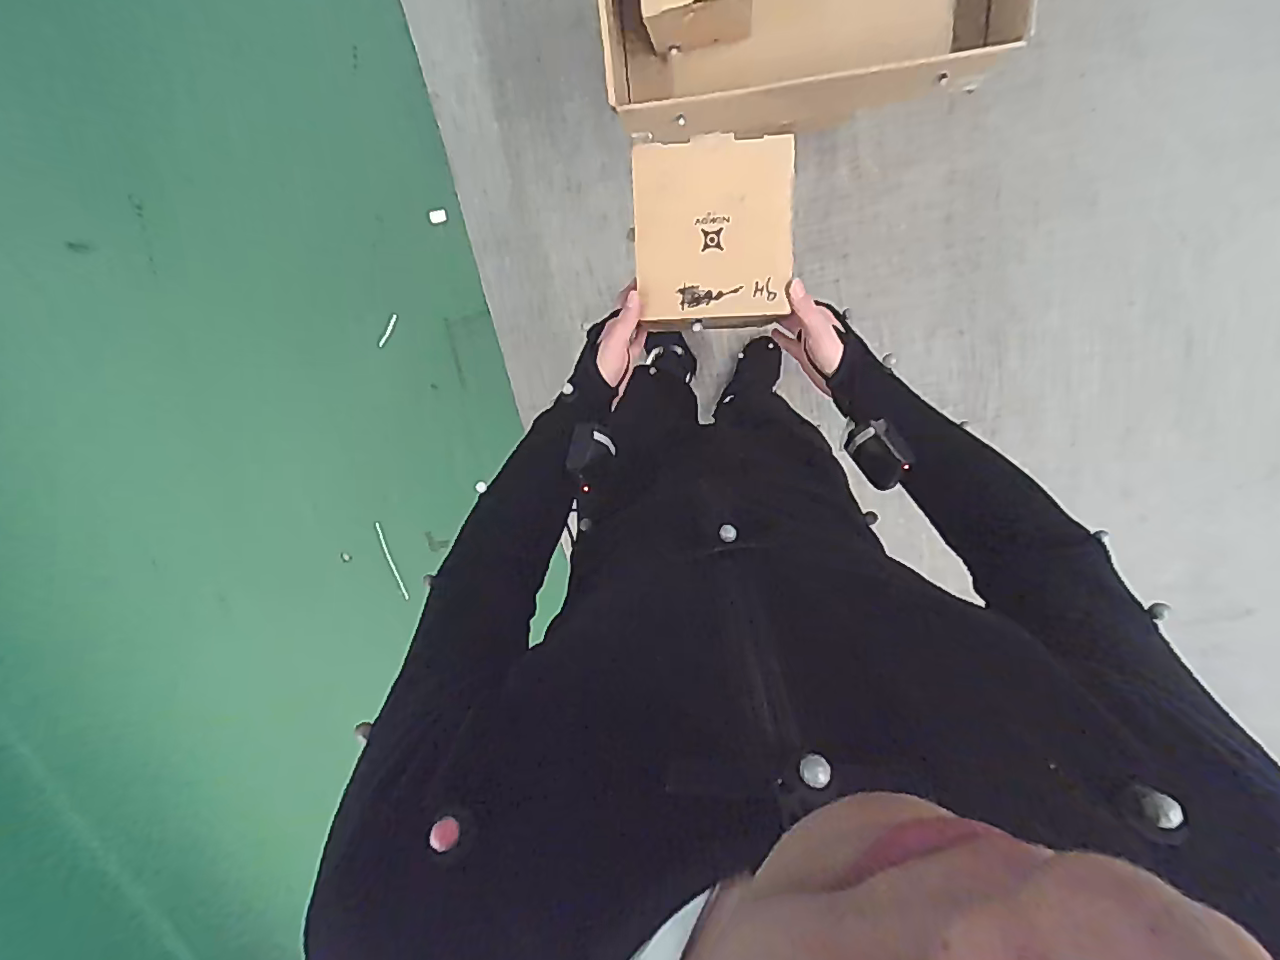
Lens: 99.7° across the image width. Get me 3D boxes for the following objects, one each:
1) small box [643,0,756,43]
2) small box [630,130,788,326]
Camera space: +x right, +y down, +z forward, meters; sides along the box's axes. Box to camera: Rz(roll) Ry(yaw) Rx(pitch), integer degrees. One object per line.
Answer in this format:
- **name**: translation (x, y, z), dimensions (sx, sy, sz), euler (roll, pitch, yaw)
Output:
- **small box**: translation (0.091, -0.806, 0.825), dimensions (0.168, 0.176, 0.179), euler (-2, 110, 12)
- **small box**: translation (0.077, -0.284, 0.647), dimensions (0.168, 0.176, 0.179), euler (-1, 102, 6)
